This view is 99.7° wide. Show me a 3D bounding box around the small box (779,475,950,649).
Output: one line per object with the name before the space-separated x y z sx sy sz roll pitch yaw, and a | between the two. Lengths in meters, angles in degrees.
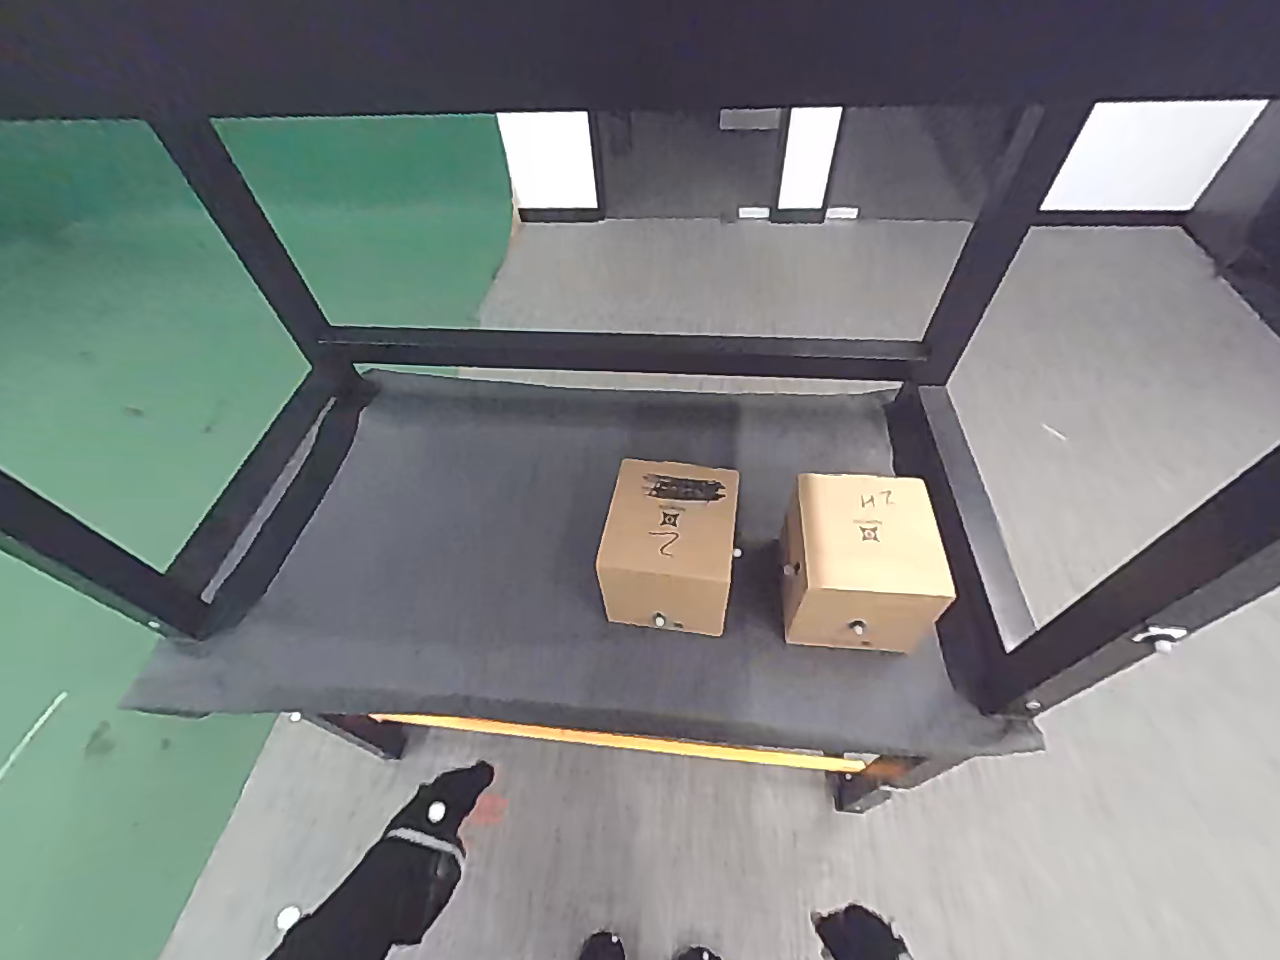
small box | 0.287 0.115 0.736 0.168 0.176 0.179 3 51 6
